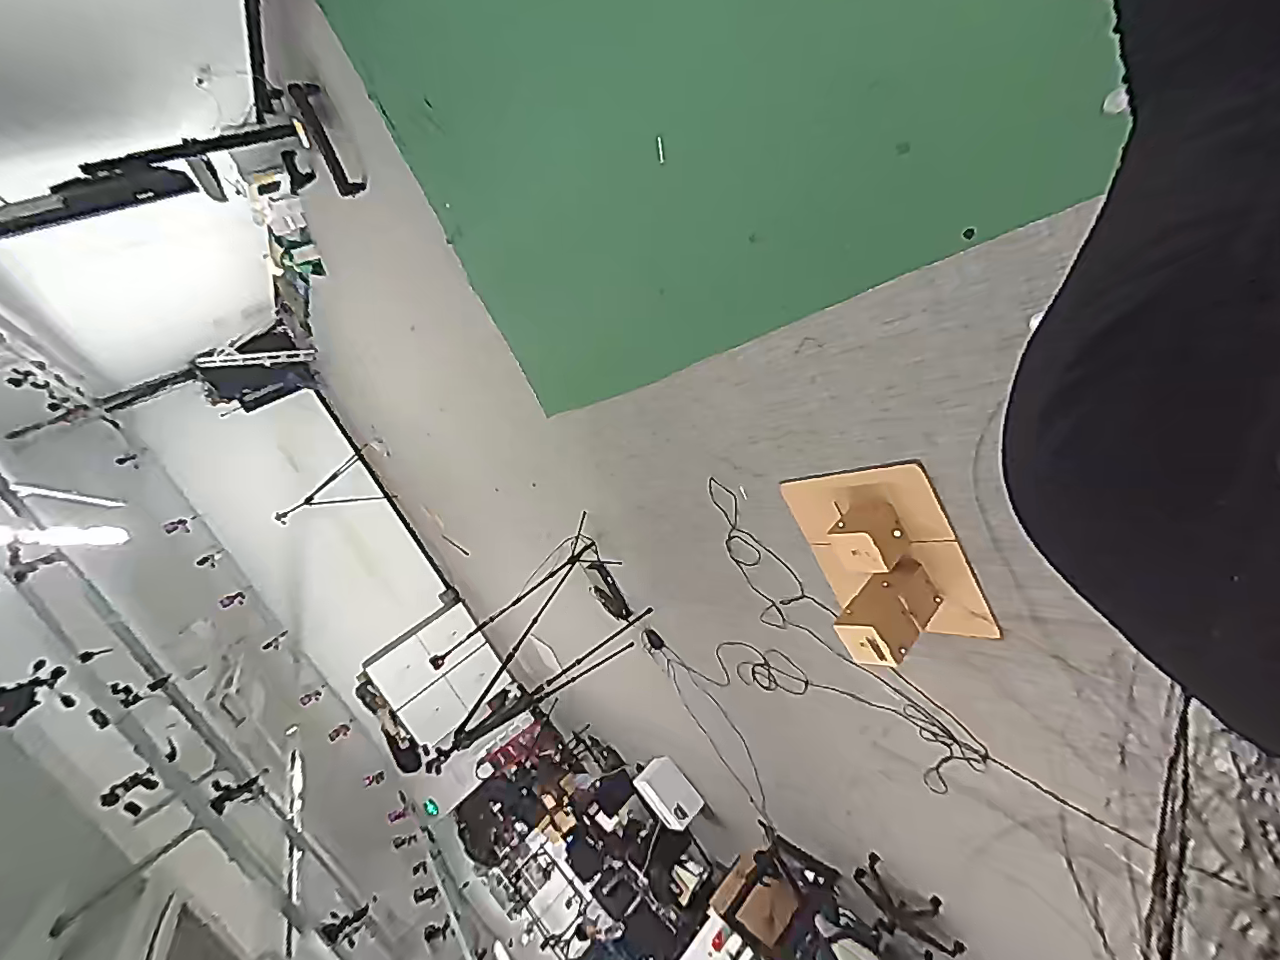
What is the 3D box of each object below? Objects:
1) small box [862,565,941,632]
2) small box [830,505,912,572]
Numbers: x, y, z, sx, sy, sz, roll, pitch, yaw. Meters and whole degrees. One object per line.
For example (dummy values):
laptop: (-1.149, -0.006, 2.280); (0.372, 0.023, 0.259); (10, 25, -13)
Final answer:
small box: (0.933, 0.416, 1.914); (0.168, 0.176, 0.179); (58, 150, -6)
small box: (0.805, 0.202, 1.880); (0.179, 0.176, 0.168); (-14, 110, 58)
